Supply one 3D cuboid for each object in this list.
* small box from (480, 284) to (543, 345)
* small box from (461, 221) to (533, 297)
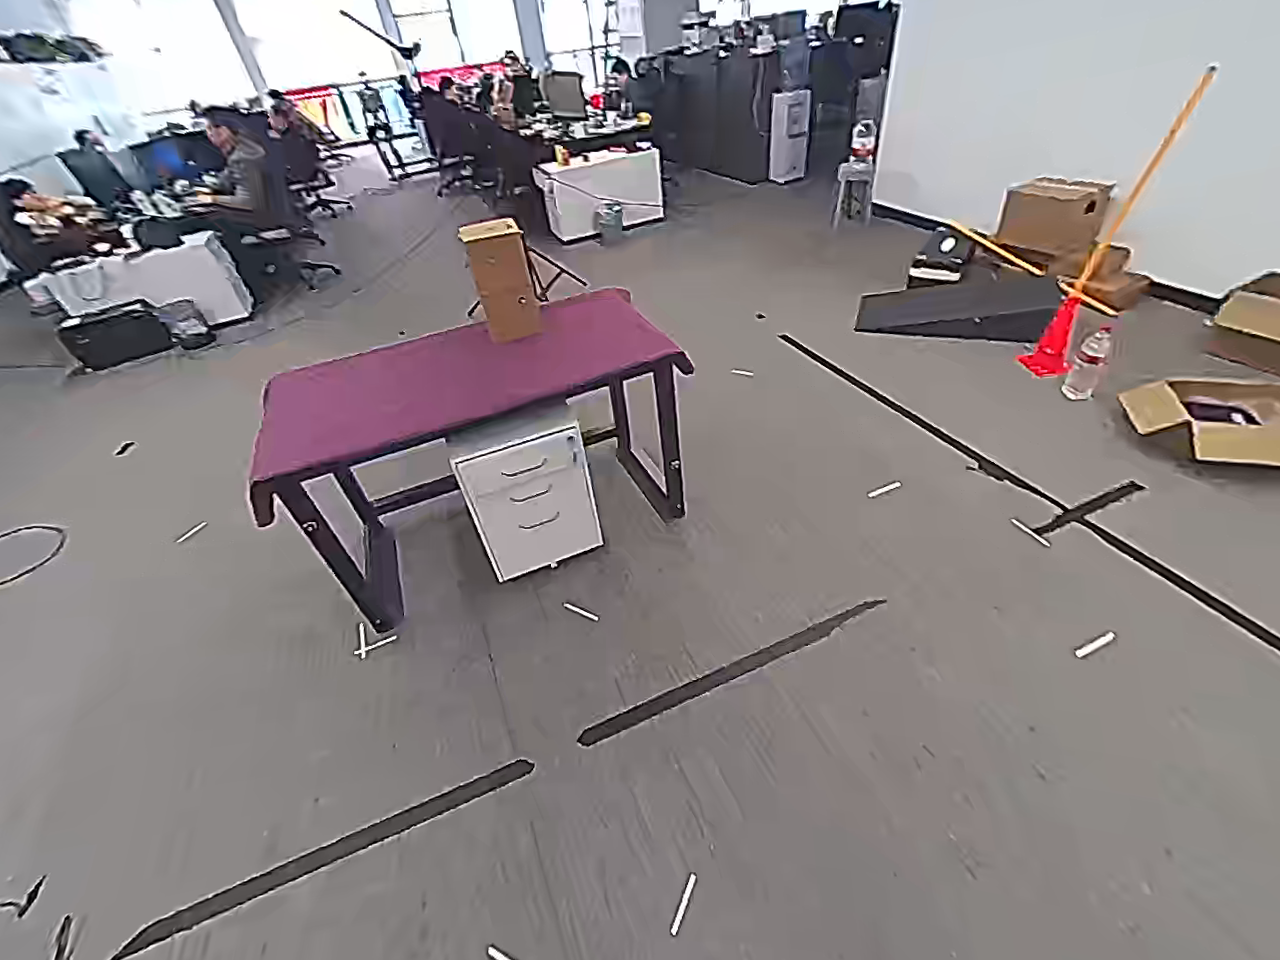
[{"bbox_3d":[-0.437,-0.583,1.837,0.179,0.176,0.168,-18,42,-11],"label":"small box"},{"bbox_3d":[-0.456,-0.706,1.731,0.179,0.176,0.168,-17,42,-9],"label":"small box"}]
